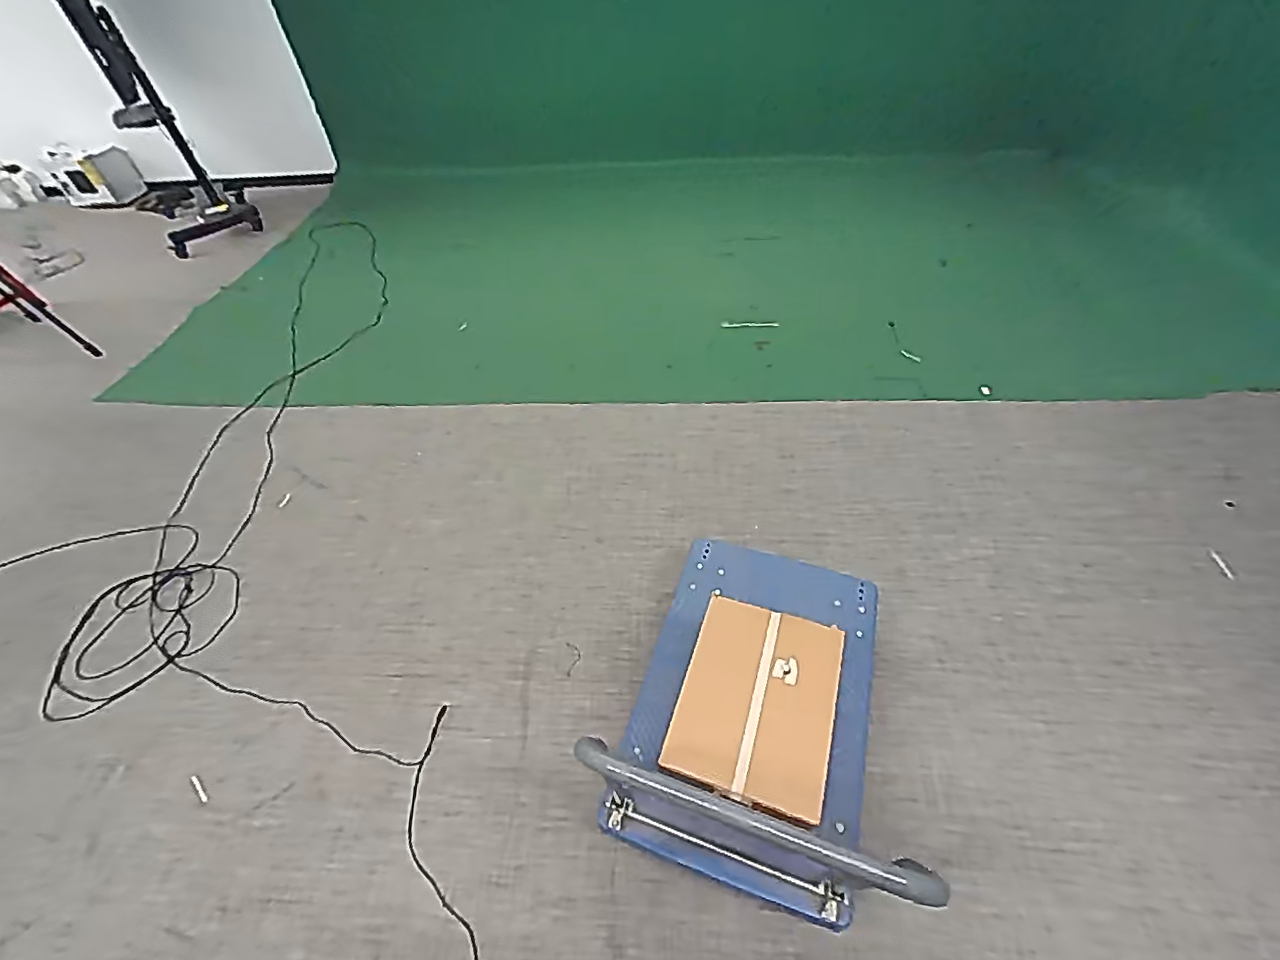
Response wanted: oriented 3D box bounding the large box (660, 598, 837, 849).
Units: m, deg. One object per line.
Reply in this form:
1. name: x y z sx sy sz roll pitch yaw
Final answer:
1. large box: 0.254 0.560 1.267 0.320 0.320 0.408 13 49 15
